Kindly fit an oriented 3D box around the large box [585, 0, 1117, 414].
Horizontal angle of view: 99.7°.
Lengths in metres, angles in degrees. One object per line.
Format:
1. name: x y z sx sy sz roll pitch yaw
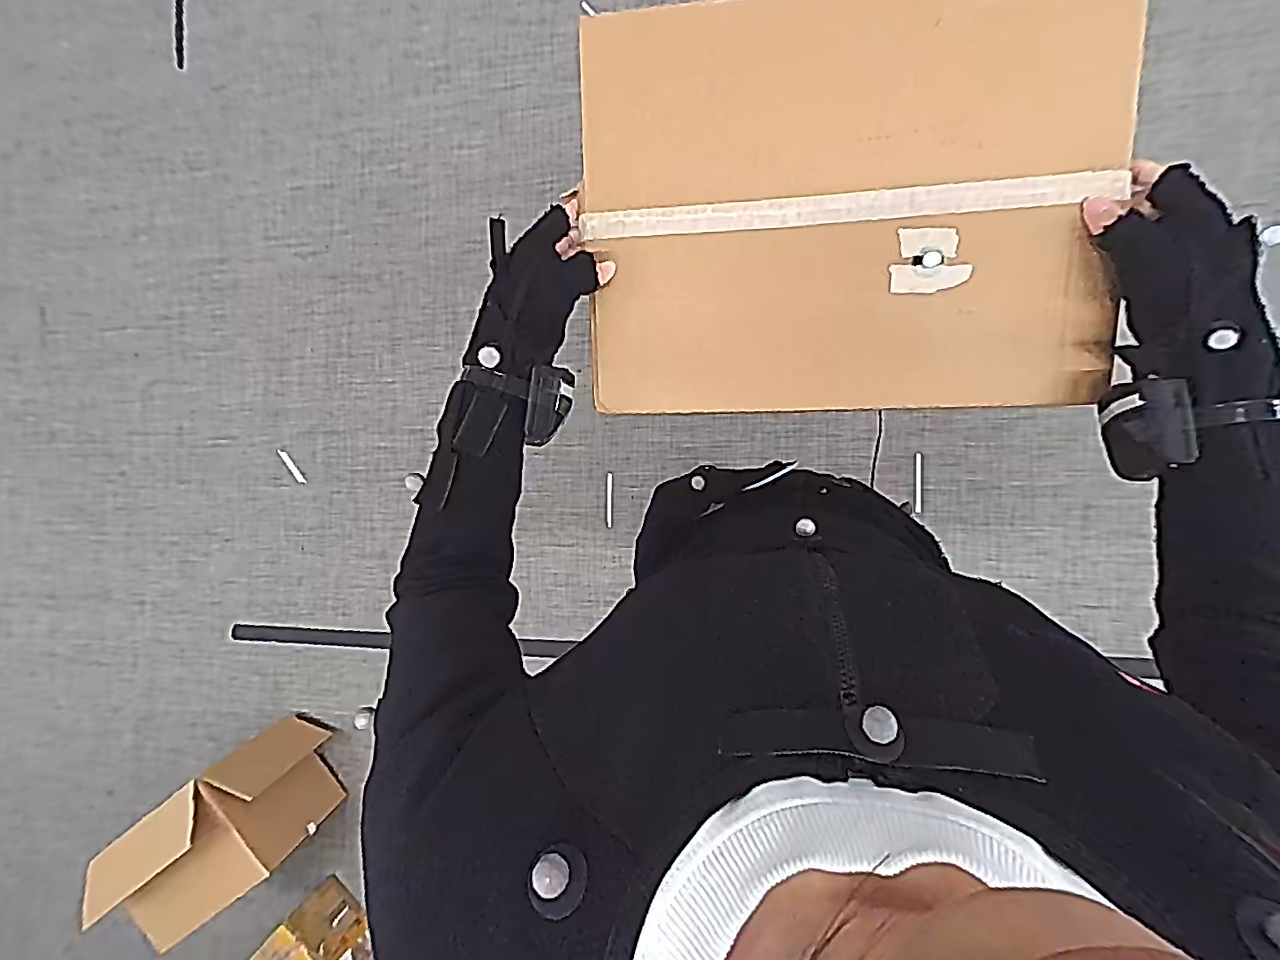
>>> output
1. large box: 0.174 -0.238 0.584 0.408 0.320 0.320 0 99 8
